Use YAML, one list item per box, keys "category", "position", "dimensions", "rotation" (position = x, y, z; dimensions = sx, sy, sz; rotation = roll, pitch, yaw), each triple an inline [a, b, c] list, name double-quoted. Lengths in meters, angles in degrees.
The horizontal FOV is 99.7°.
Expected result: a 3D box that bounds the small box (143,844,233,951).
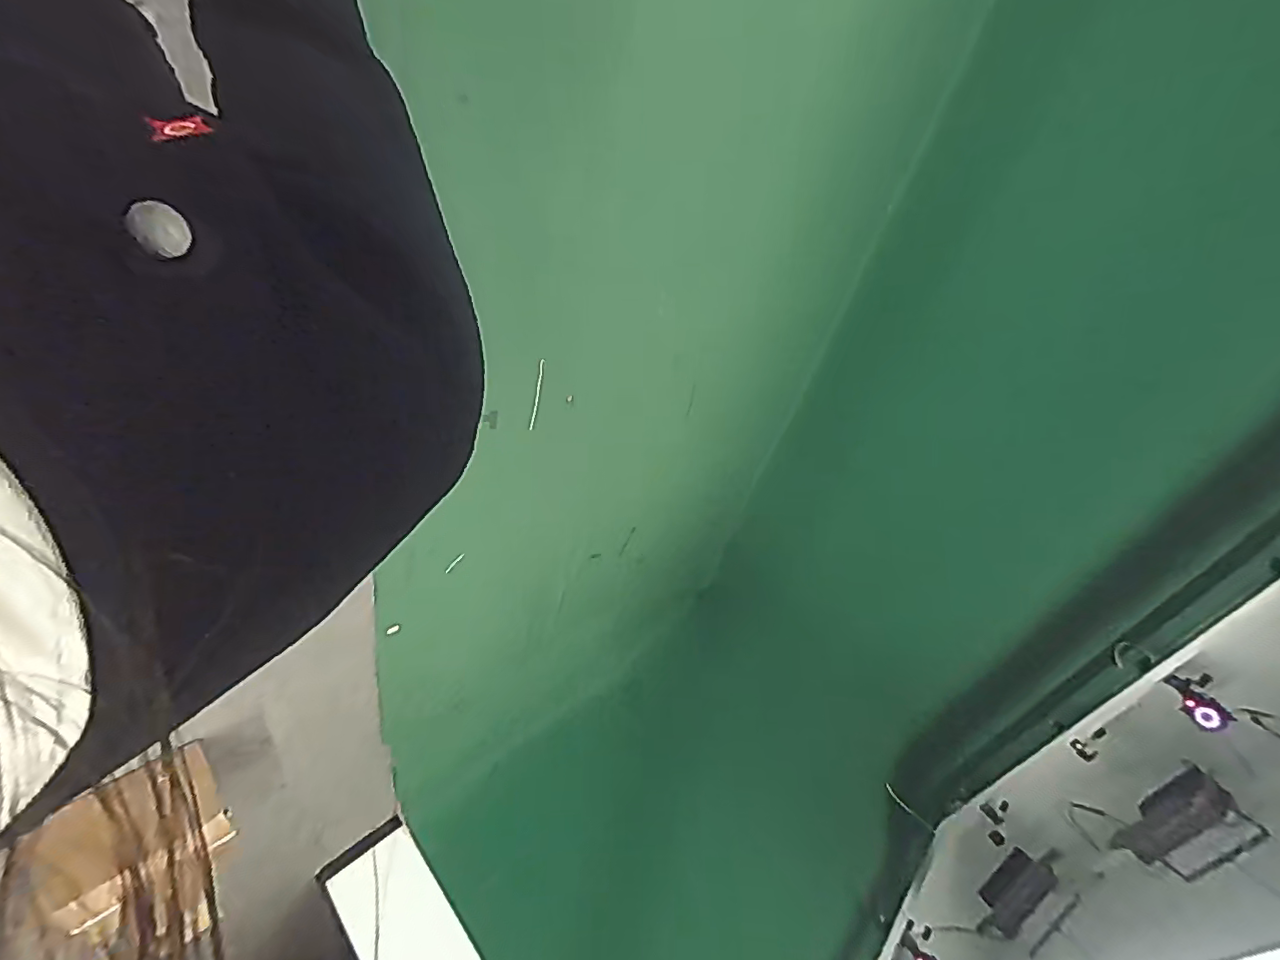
- category: "small box"
  position: [-1.427, 1.309, 1.703]
  dimensions: [0.179, 0.176, 0.168]
  rotation: [-23, 136, -41]
